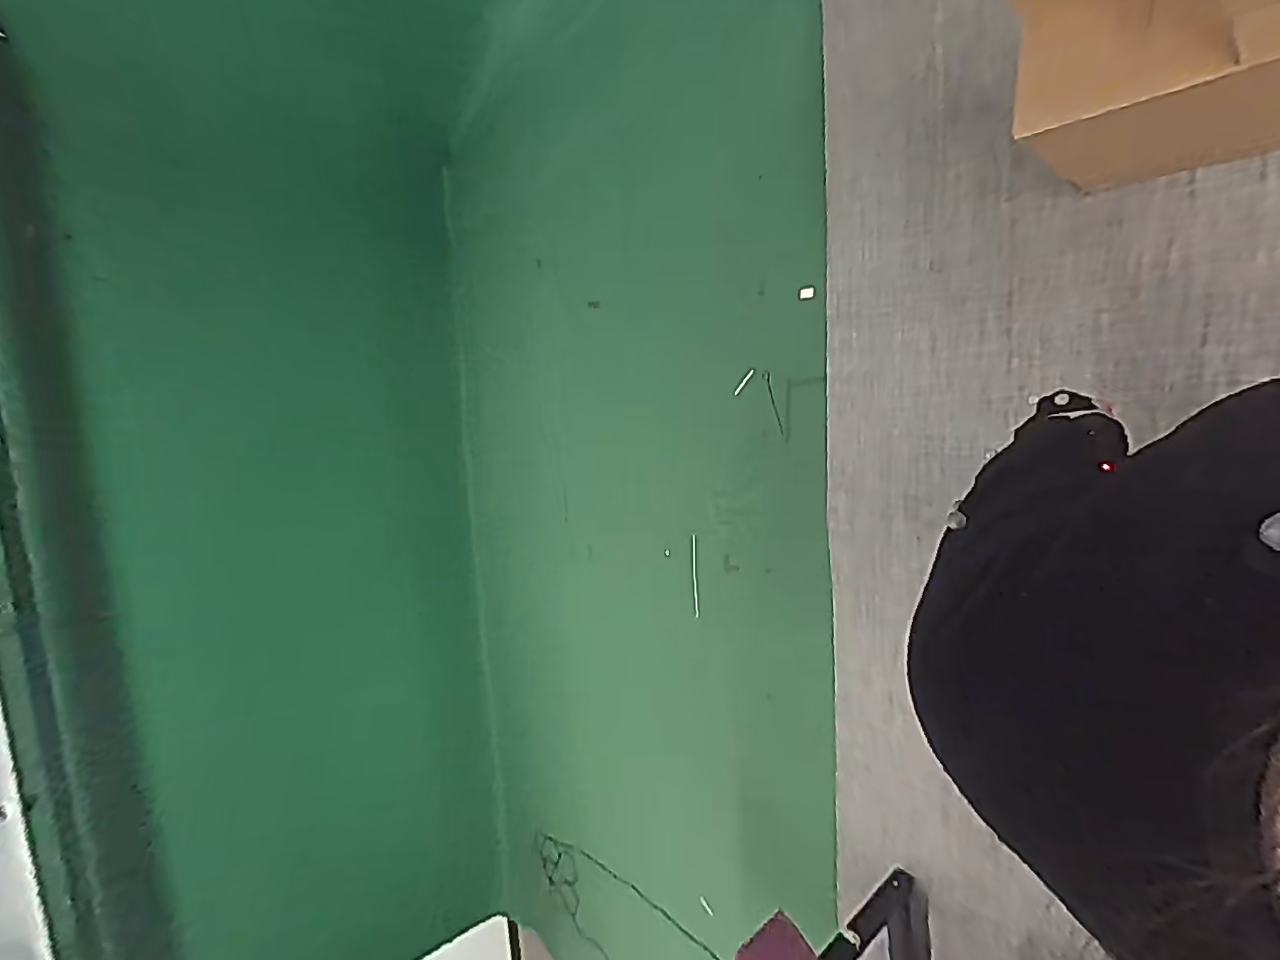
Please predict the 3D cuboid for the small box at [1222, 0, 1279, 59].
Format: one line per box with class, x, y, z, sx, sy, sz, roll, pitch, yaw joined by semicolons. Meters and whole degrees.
small box;0.754;-0.589;0.570;0.168;0.176;0.179;9;103;51
